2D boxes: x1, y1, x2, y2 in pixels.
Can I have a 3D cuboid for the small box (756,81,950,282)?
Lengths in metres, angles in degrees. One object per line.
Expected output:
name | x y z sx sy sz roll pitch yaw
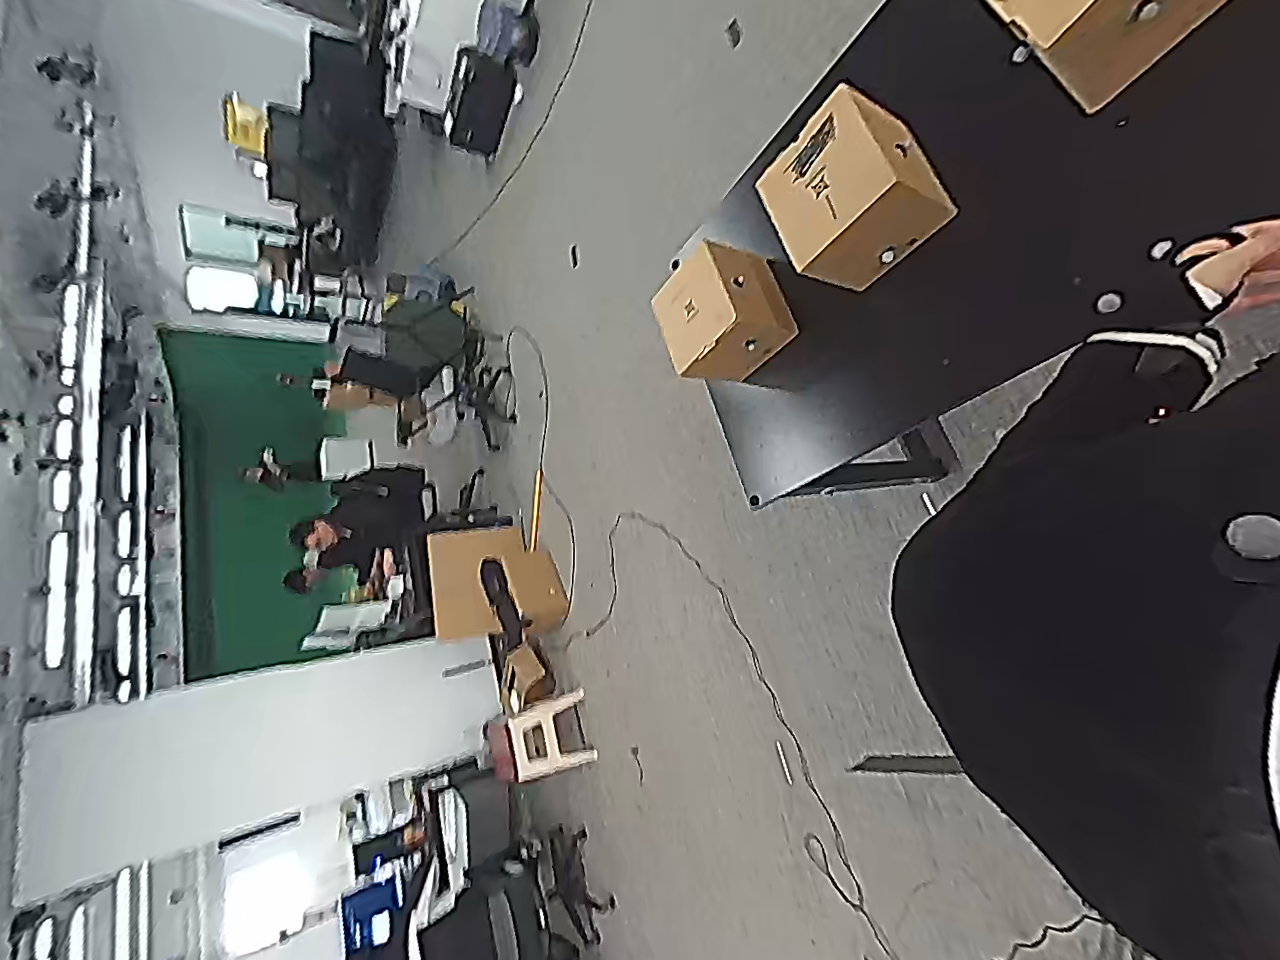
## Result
small box | 0.307 -0.416 0.788 0.168 0.176 0.179 -38 64 48

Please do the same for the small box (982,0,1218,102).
small box | 0.479 -0.536 0.549 0.179 0.176 0.168 -43 59 47

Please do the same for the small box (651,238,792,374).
small box | 0.152 -0.311 1.006 0.168 0.176 0.179 -38 62 46
